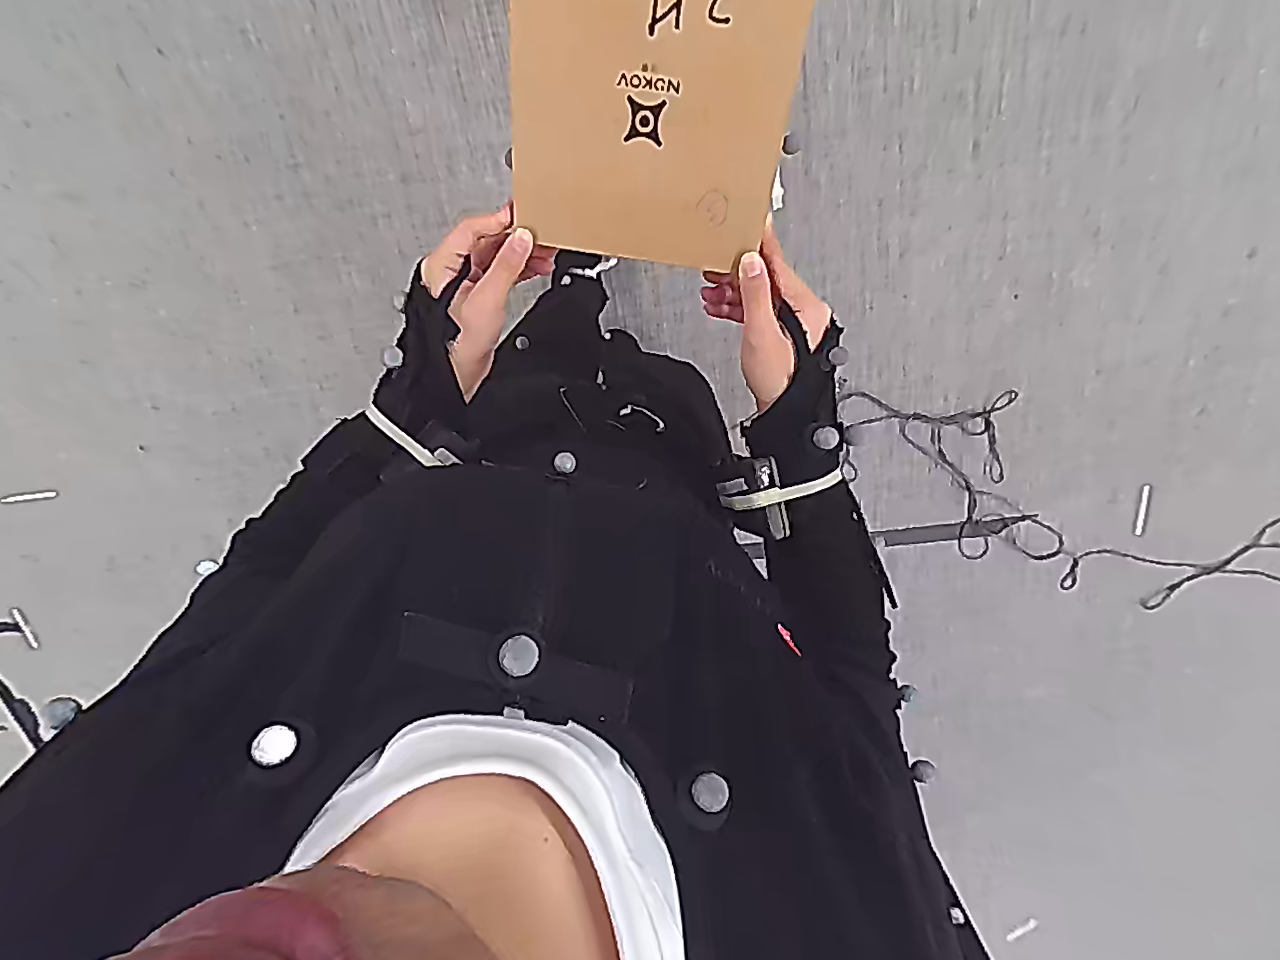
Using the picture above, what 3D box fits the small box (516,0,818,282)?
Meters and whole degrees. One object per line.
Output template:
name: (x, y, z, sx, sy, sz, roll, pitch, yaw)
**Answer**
small box: (0.016, -0.264, 0.389, 0.168, 0.176, 0.179, 10, 124, 1)
